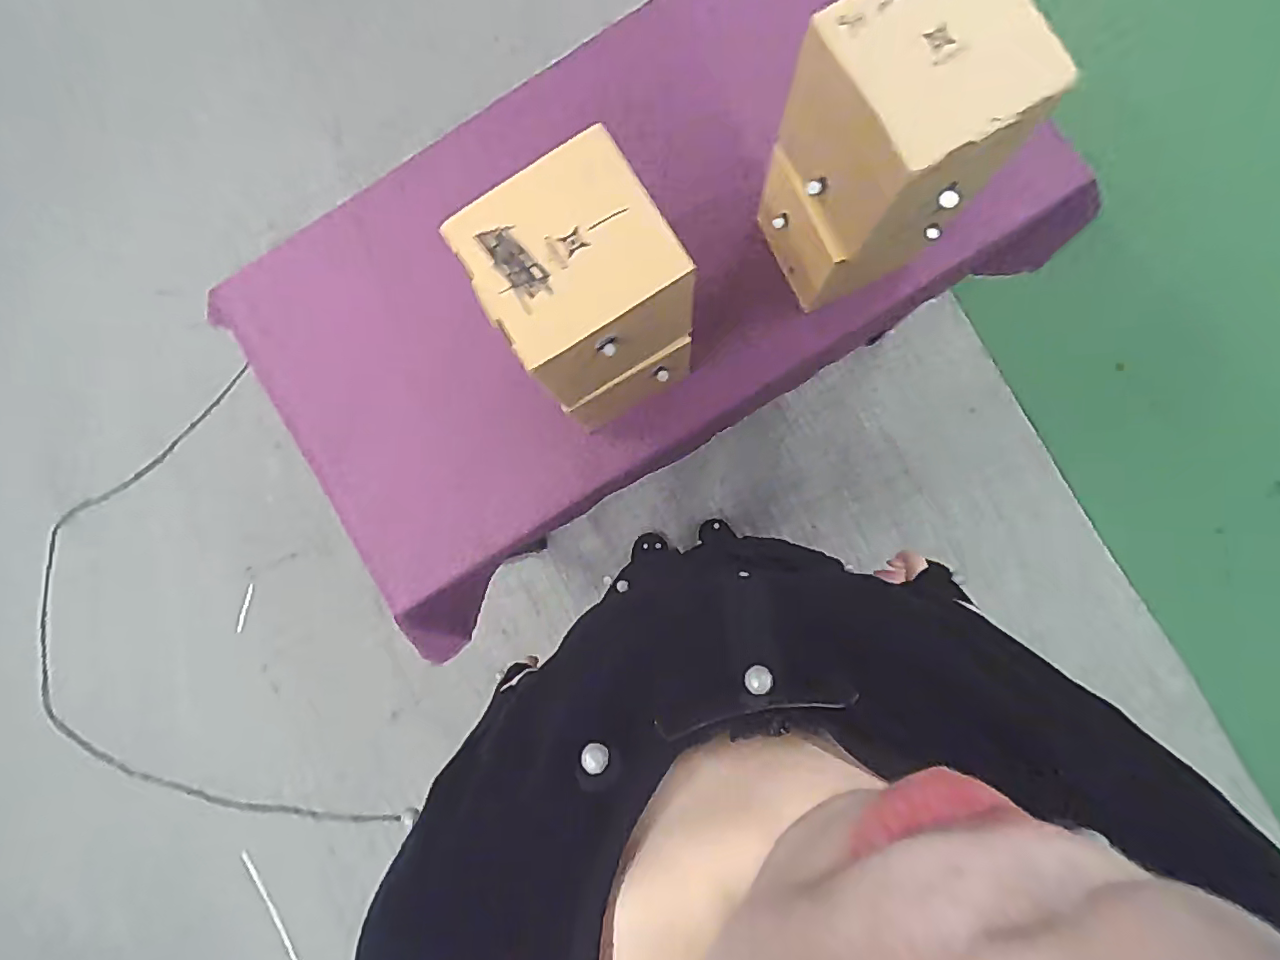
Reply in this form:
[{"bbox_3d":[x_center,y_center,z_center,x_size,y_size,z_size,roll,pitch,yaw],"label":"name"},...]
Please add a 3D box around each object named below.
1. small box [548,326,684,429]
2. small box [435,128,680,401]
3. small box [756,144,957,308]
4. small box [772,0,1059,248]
[{"bbox_3d":[-0.056,-0.187,0.730,0.179,0.176,0.168,-29,84,2],"label":"small box"},{"bbox_3d":[-0.070,-0.203,0.566,0.179,0.176,0.168,-32,85,1],"label":"small box"},{"bbox_3d":[0.267,-0.358,0.719,0.179,0.176,0.168,-25,85,2],"label":"small box"},{"bbox_3d":[0.258,-0.370,0.555,0.168,0.176,0.179,-29,86,1],"label":"small box"}]
